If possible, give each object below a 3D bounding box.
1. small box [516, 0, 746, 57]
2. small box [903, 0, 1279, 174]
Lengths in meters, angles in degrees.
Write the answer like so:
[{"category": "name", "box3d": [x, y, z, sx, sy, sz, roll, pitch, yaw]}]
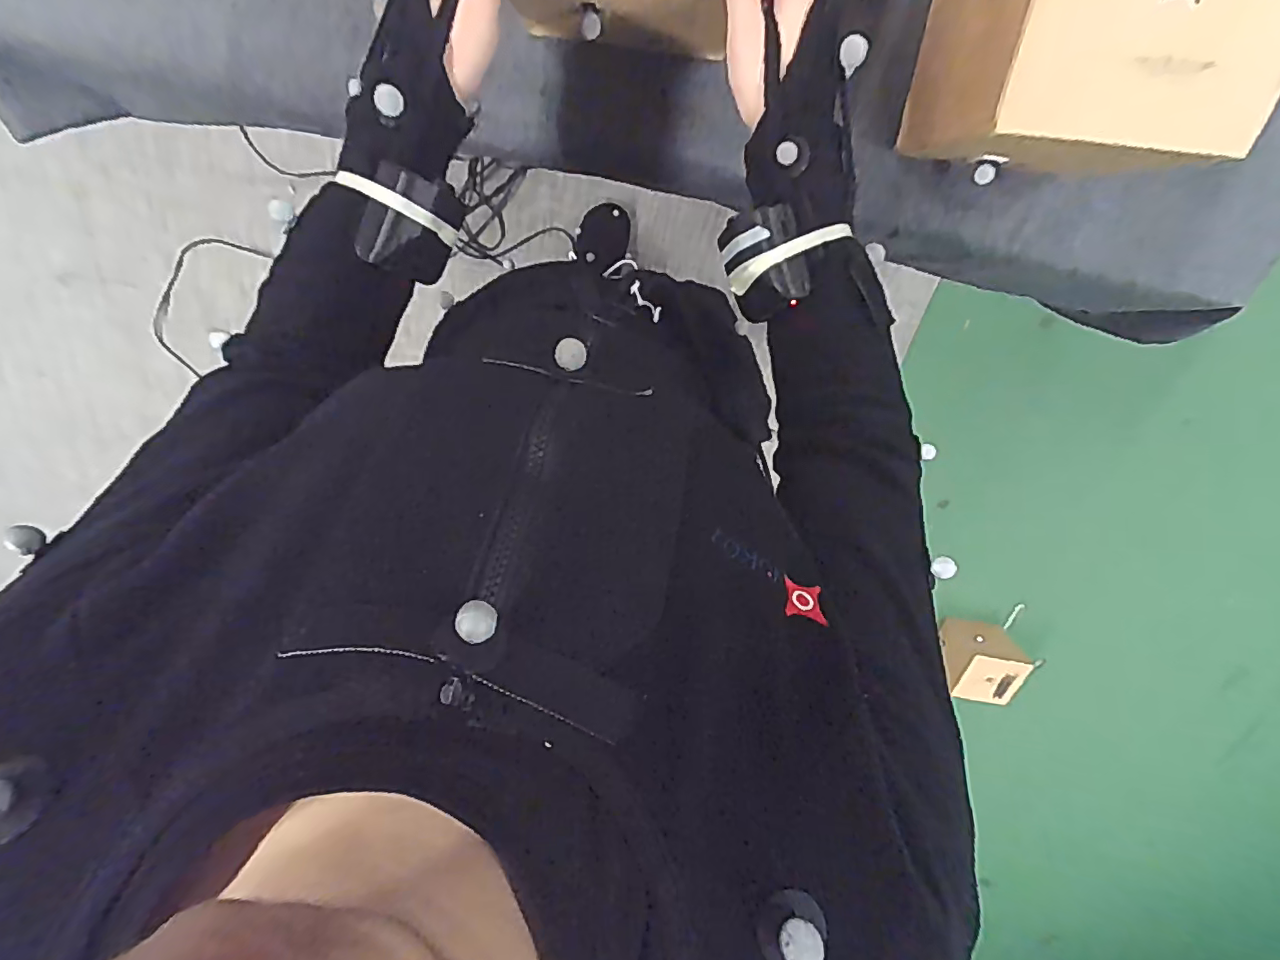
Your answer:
[{"category": "small box", "box3d": [-0.001, -0.400, 0.344, 0.168, 0.176, 0.179, 6, 116, -2]}, {"category": "small box", "box3d": [0.314, -0.326, 0.378, 0.168, 0.176, 0.179, 5, 117, -1]}]
